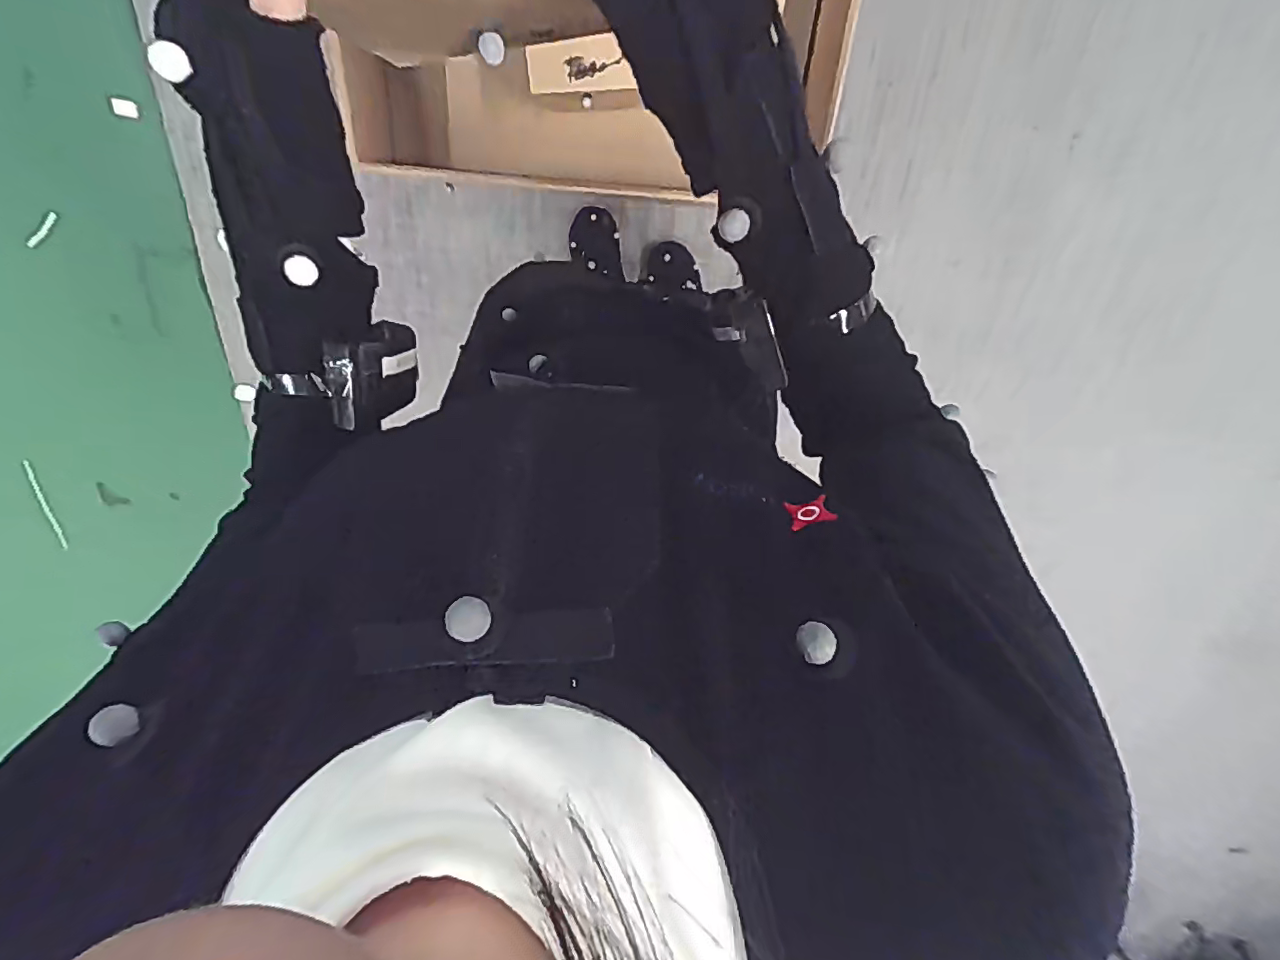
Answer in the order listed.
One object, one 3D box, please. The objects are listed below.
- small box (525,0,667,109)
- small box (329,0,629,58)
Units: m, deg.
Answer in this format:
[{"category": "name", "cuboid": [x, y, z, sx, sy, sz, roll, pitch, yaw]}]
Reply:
[{"category": "small box", "cuboid": [-0.051, -0.580, 0.670, 0.168, 0.176, 0.179, -1, 117, 3]}, {"category": "small box", "cuboid": [-0.097, -0.329, 0.247, 0.168, 0.176, 0.179, -6, 118, 5]}]
